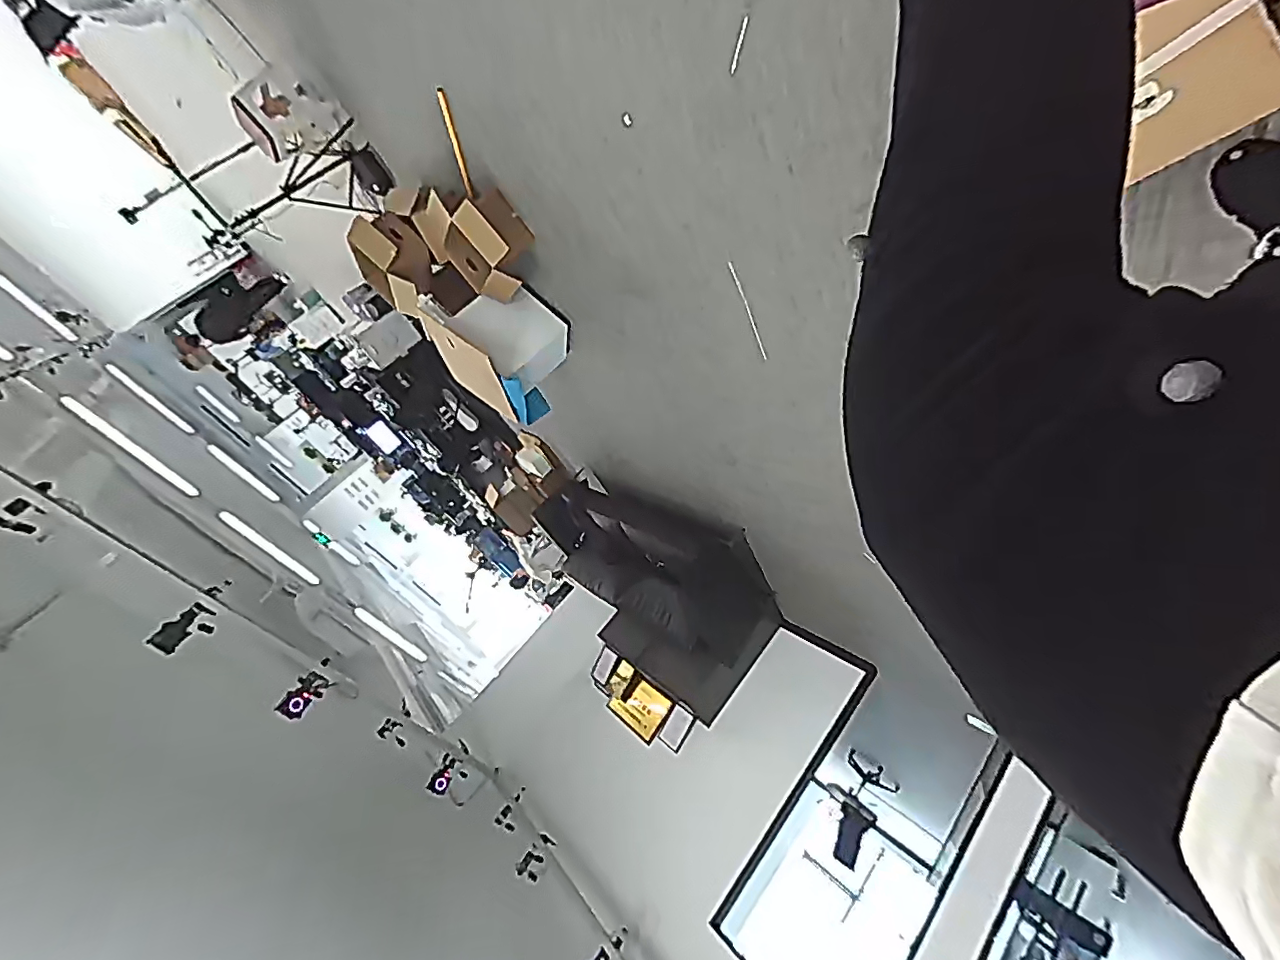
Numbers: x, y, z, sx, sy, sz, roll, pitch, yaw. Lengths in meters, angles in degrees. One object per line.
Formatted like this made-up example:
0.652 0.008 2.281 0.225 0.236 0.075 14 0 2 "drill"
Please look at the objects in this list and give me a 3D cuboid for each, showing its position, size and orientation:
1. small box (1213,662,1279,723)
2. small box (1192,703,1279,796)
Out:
1.988 0.717 1.716 0.168 0.176 0.179 29 156 44 "small box"
1.878 0.830 1.672 0.168 0.176 0.179 30 156 41 "small box"
